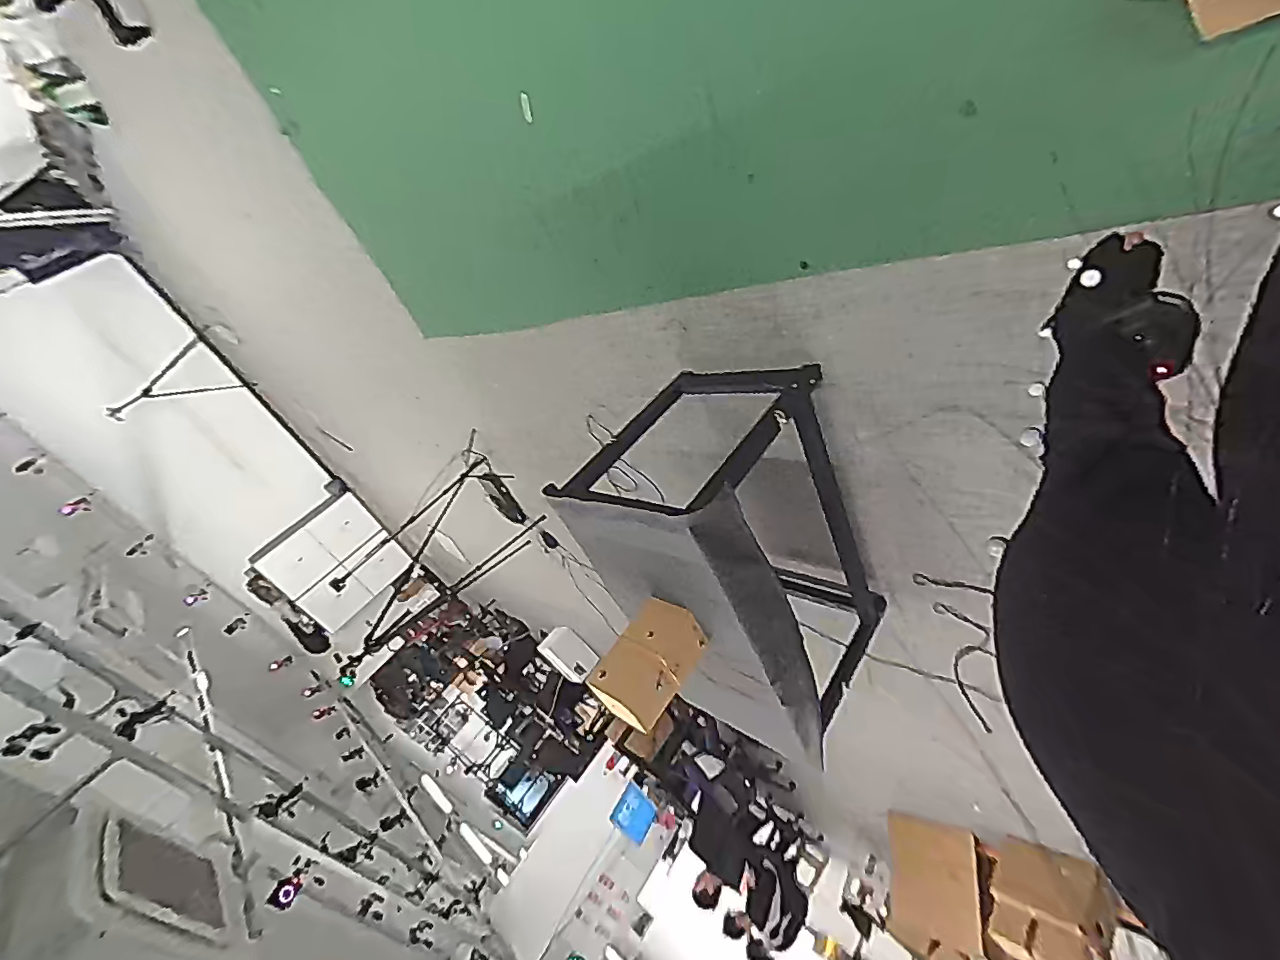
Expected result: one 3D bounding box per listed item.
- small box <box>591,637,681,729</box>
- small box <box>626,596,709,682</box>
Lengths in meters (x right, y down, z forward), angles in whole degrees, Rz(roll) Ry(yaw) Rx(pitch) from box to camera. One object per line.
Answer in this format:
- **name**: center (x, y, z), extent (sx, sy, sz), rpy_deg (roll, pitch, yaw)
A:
- **small box**: center (-0.009, 0.602, 1.629), extent (0.179, 0.176, 0.168), rpy_deg (6, 135, 48)
- **small box**: center (0.095, 0.487, 1.687), extent (0.179, 0.176, 0.168), rpy_deg (10, 137, 48)
